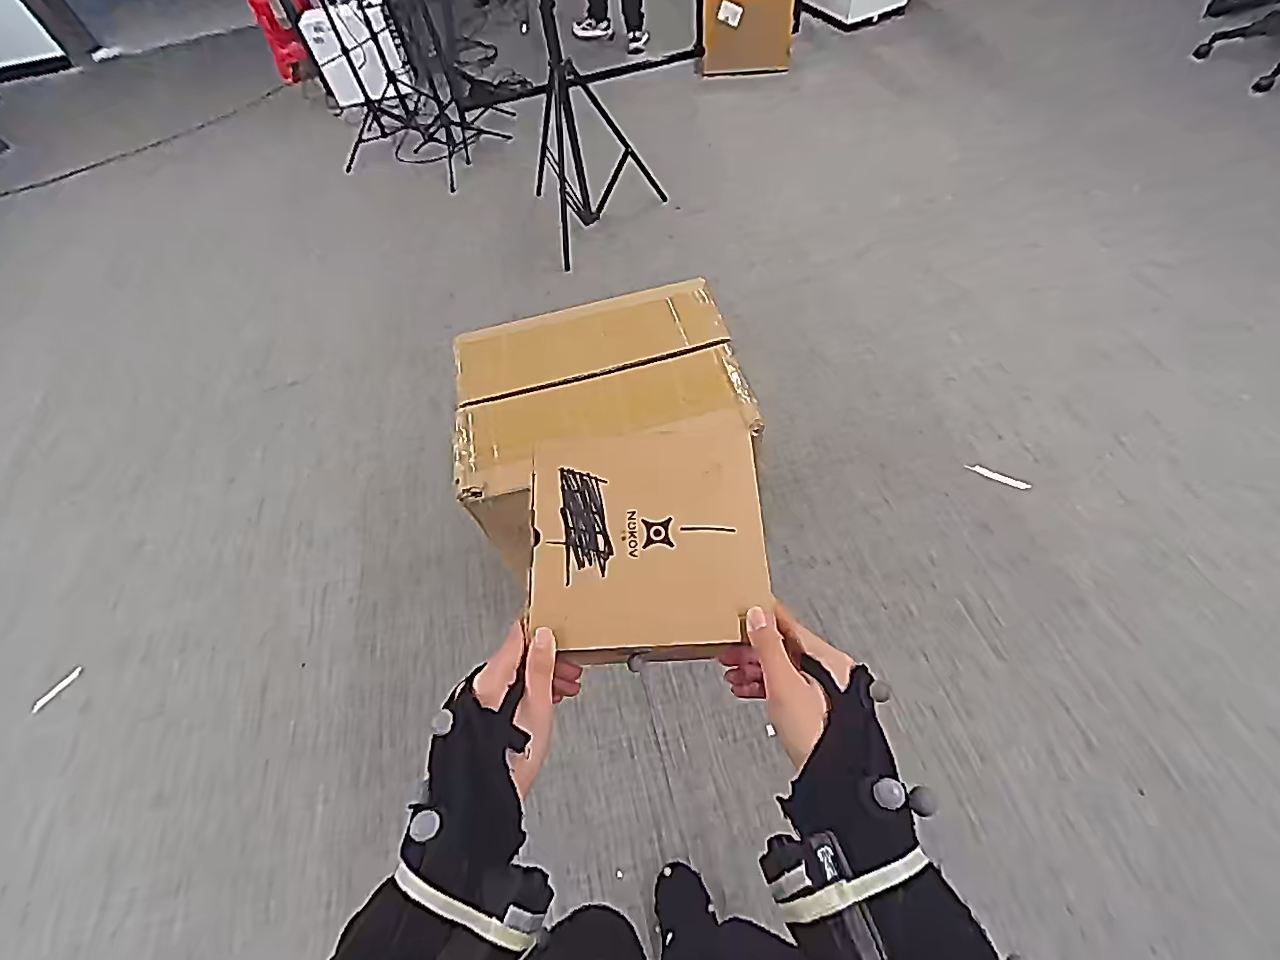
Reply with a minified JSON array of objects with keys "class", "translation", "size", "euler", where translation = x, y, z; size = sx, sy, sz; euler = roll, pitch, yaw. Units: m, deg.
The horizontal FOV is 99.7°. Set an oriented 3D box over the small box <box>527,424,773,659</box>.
[{"class":"small box","translation":[0.007,0.064,0.480],"size":[0.179,0.176,0.168],"euler":[-3,68,0]}]
